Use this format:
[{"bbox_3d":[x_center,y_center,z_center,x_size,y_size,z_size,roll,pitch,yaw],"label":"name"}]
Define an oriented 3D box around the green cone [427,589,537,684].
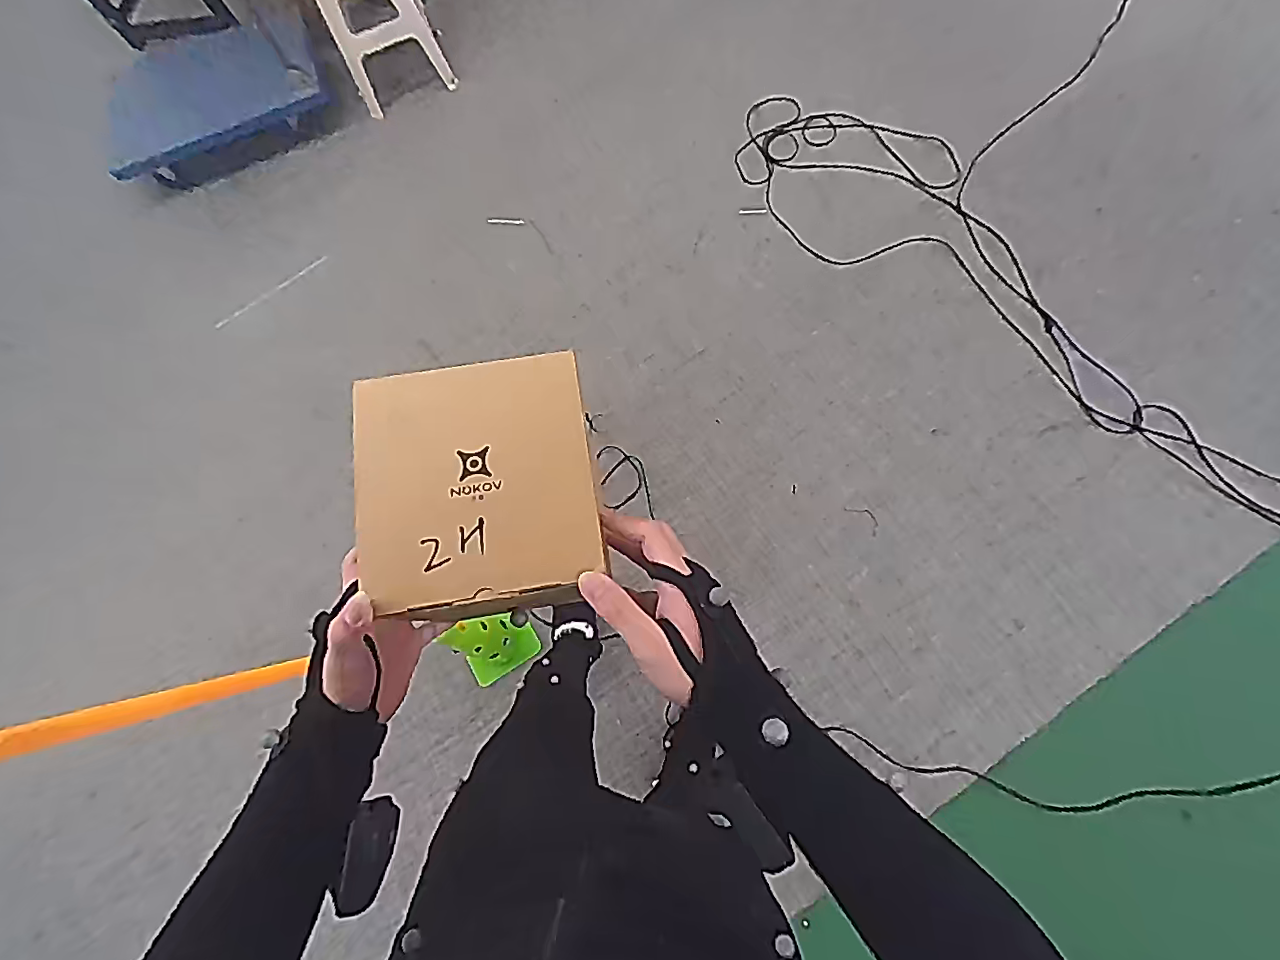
[{"bbox_3d":[-0.423,0.375,1.325,0.202,0.368,0.200,-33,72,-5],"label":"green cone"}]
